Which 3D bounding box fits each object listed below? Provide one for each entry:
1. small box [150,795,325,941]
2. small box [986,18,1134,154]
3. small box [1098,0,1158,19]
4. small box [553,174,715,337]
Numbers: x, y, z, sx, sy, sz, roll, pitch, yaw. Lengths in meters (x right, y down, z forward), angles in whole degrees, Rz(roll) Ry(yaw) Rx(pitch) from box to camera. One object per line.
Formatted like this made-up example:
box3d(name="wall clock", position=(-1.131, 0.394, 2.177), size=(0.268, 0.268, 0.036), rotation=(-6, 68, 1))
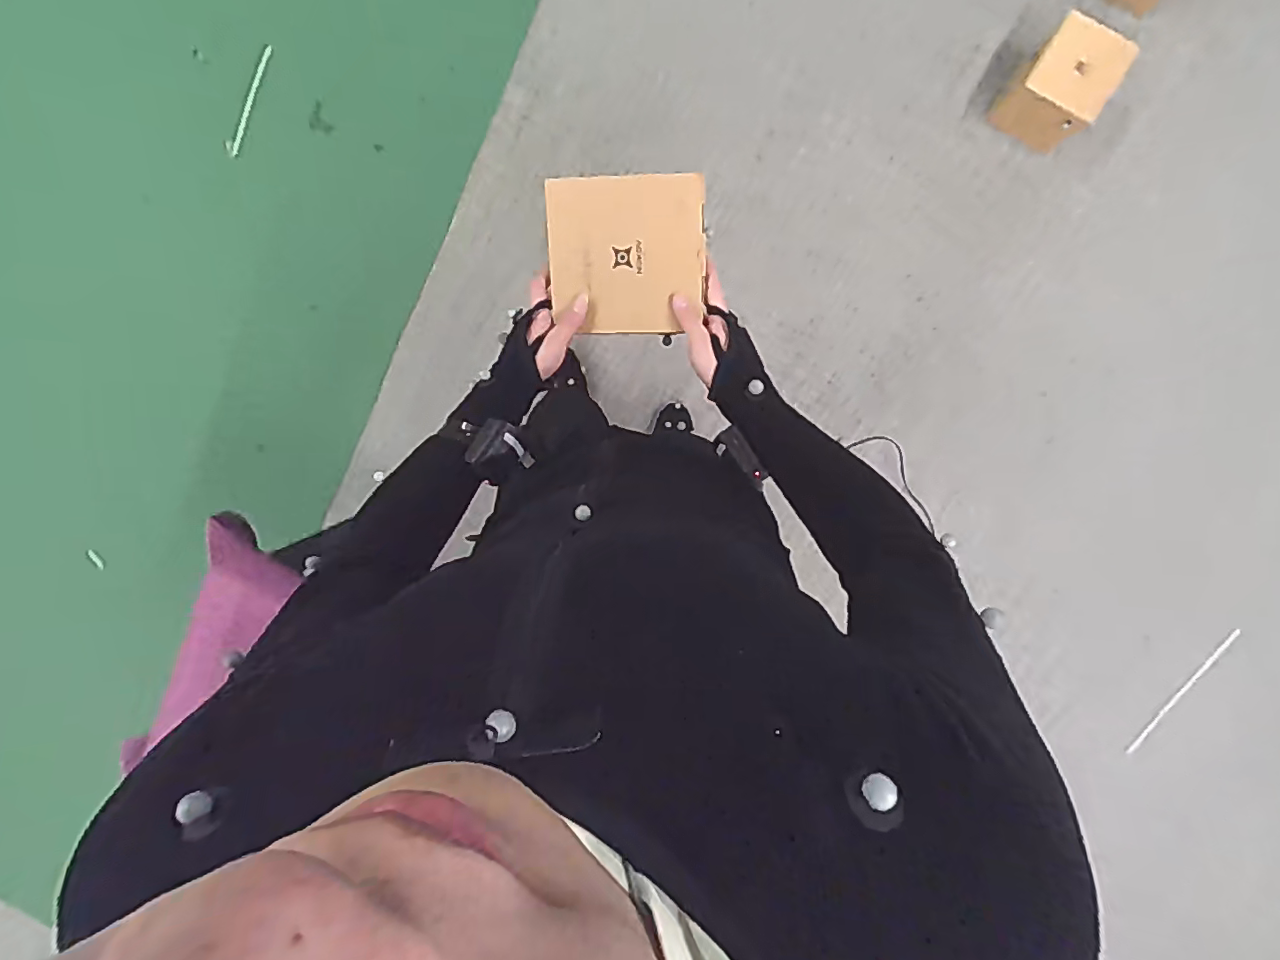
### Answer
box3d(name="small box", position=(-0.723, 0.670, 0.993), size=(0.168, 0.176, 0.179), rotation=(34, 103, -2))
box3d(name="small box", position=(0.956, -0.898, 1.253), size=(0.179, 0.176, 0.168), rotation=(28, 102, -1))
box3d(name="small box", position=(1.117, -1.170, 1.180), size=(0.179, 0.176, 0.168), rotation=(29, 103, -1))
box3d(name="small box", position=(-0.005, -0.265, 0.671), size=(0.179, 0.176, 0.168), rotation=(2, 104, 4))
